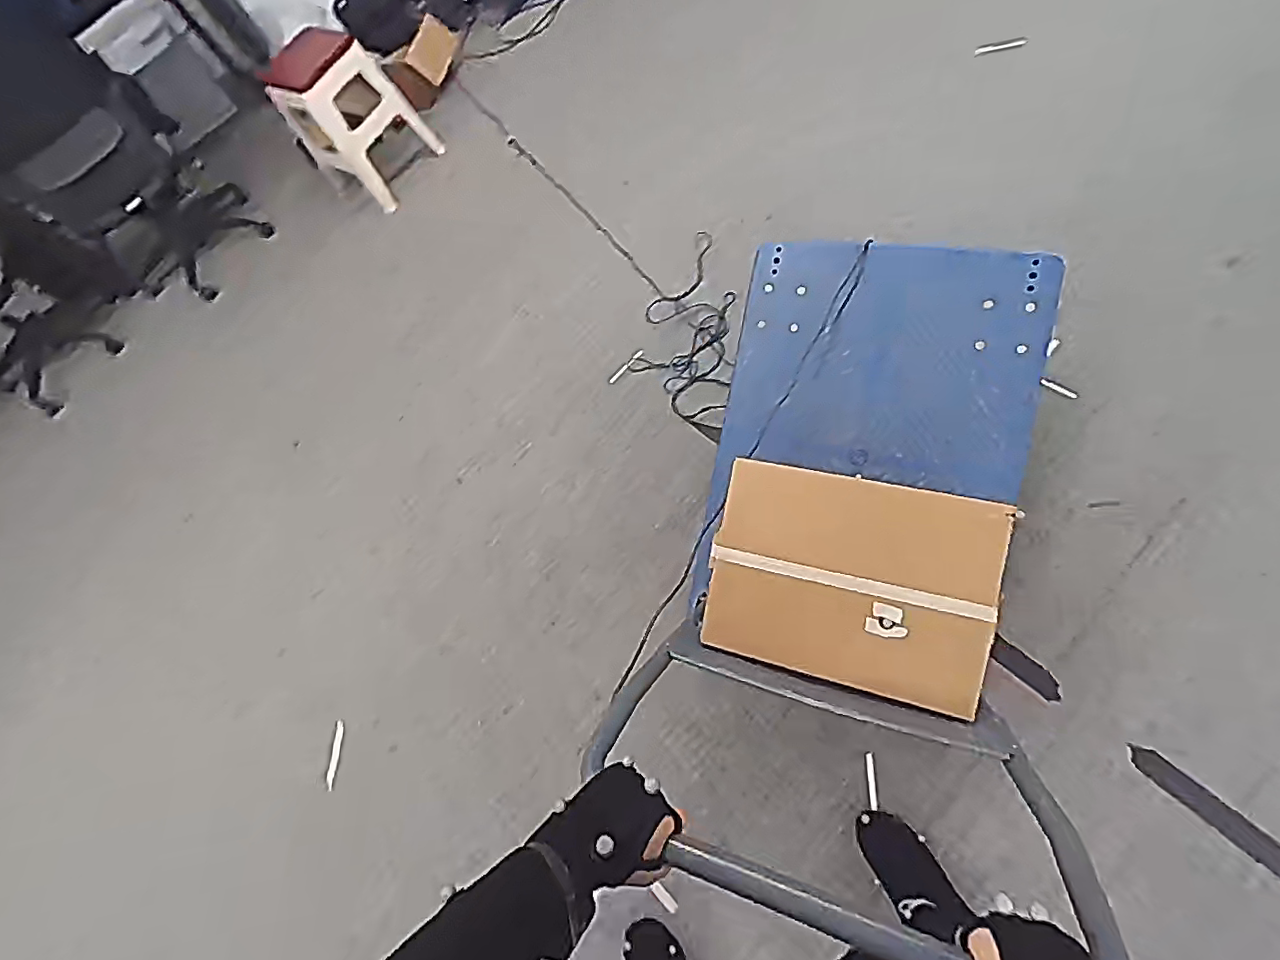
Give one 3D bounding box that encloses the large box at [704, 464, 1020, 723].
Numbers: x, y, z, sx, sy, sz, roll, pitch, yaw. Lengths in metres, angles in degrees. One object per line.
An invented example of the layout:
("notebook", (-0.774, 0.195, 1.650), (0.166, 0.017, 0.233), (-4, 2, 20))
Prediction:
("large box", (0.356, 0.164, 0.948), (0.408, 0.320, 0.320), (11, 91, 18))
